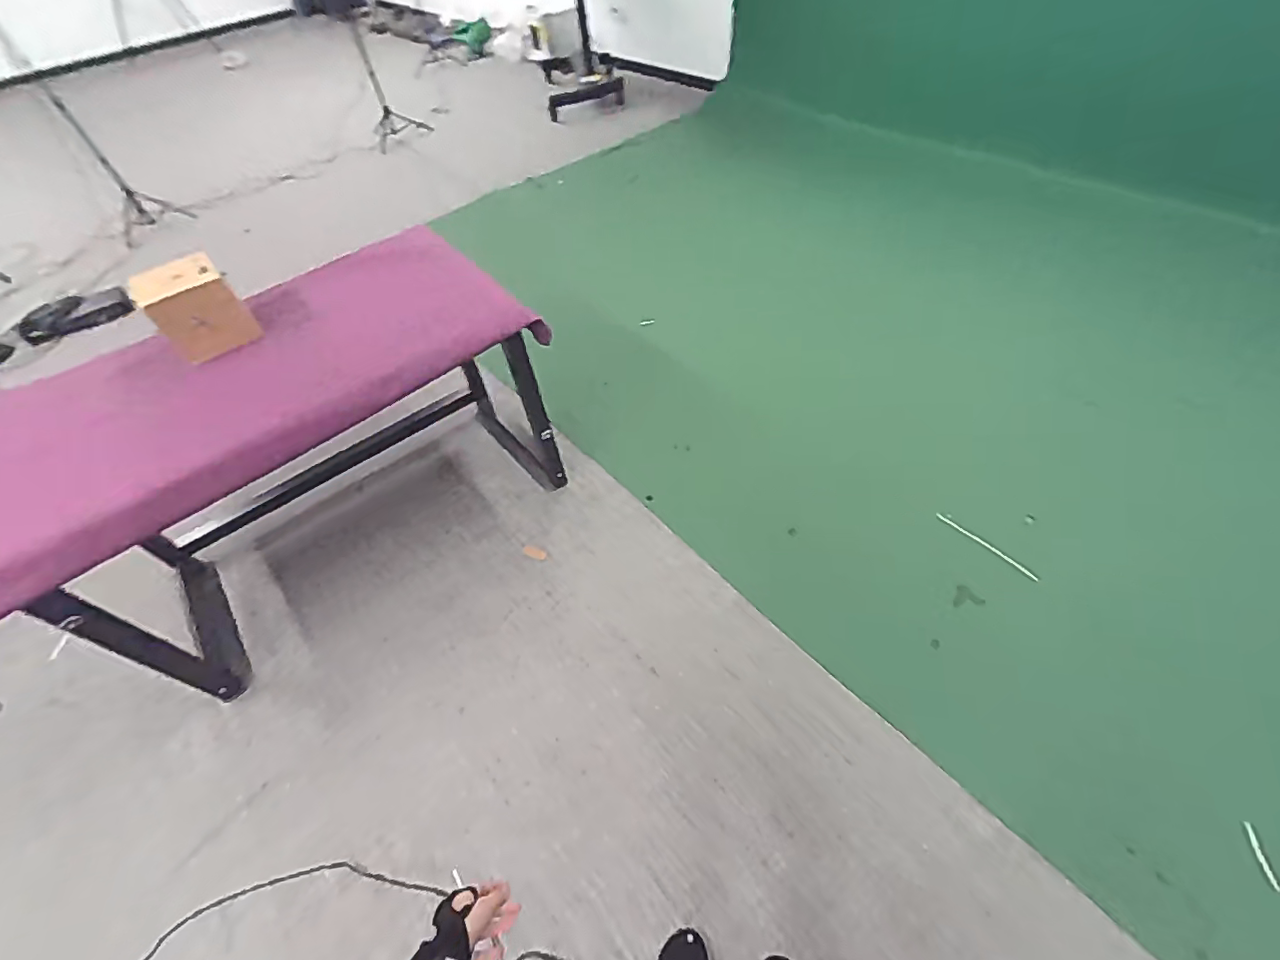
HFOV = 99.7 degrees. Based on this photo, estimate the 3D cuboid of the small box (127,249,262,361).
[{"bbox_3d":[-1.071,-0.420,1.310,0.179,0.176,0.168,-36,59,-20],"label":"small box"}]
